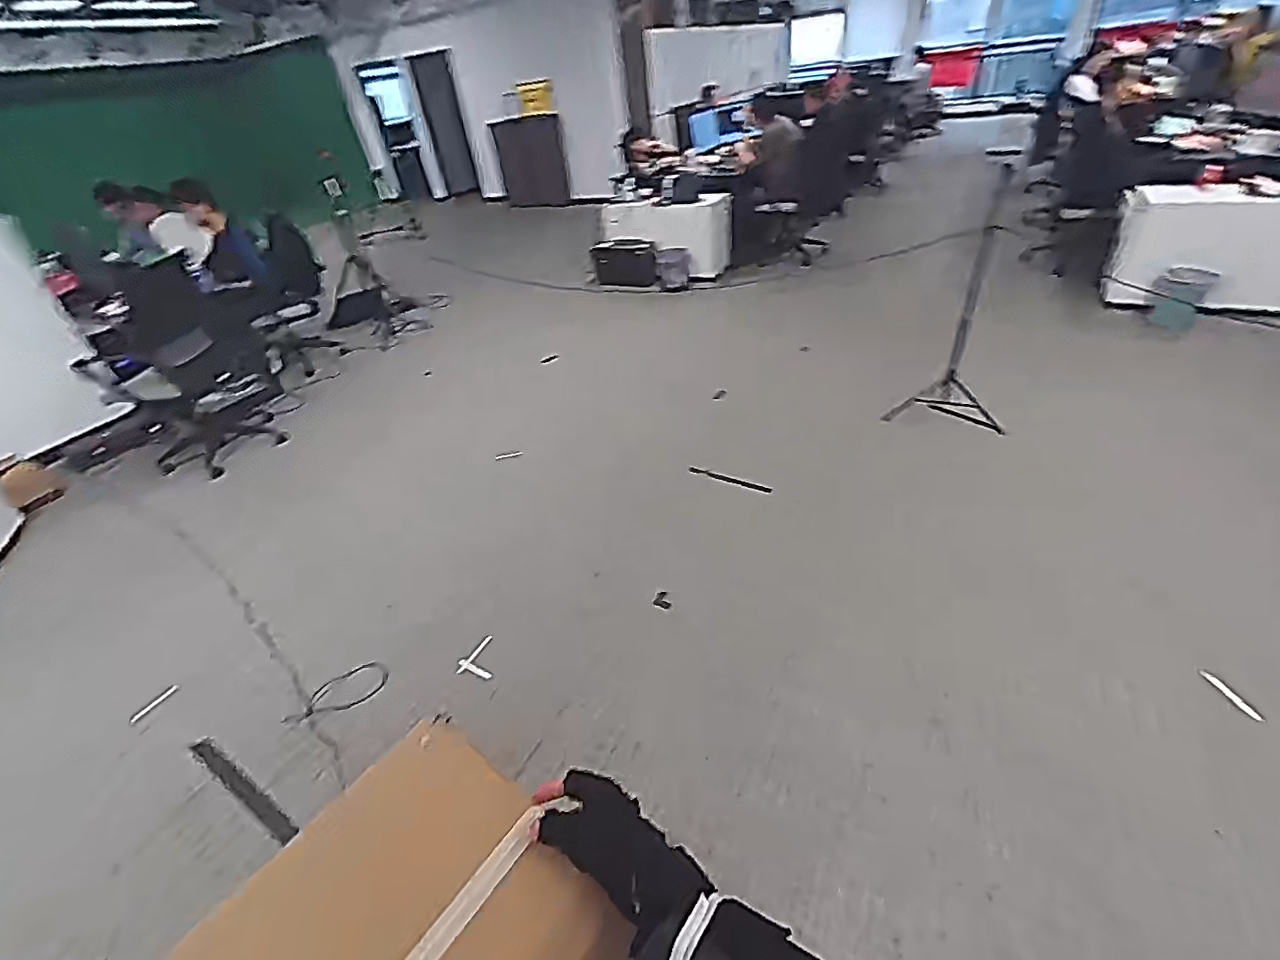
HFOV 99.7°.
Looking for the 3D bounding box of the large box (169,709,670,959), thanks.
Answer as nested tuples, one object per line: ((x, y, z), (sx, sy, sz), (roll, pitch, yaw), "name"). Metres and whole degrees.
((-0.218, 0.523, 0.498), (0.320, 0.320, 0.408), (30, 48, 25), "large box")
